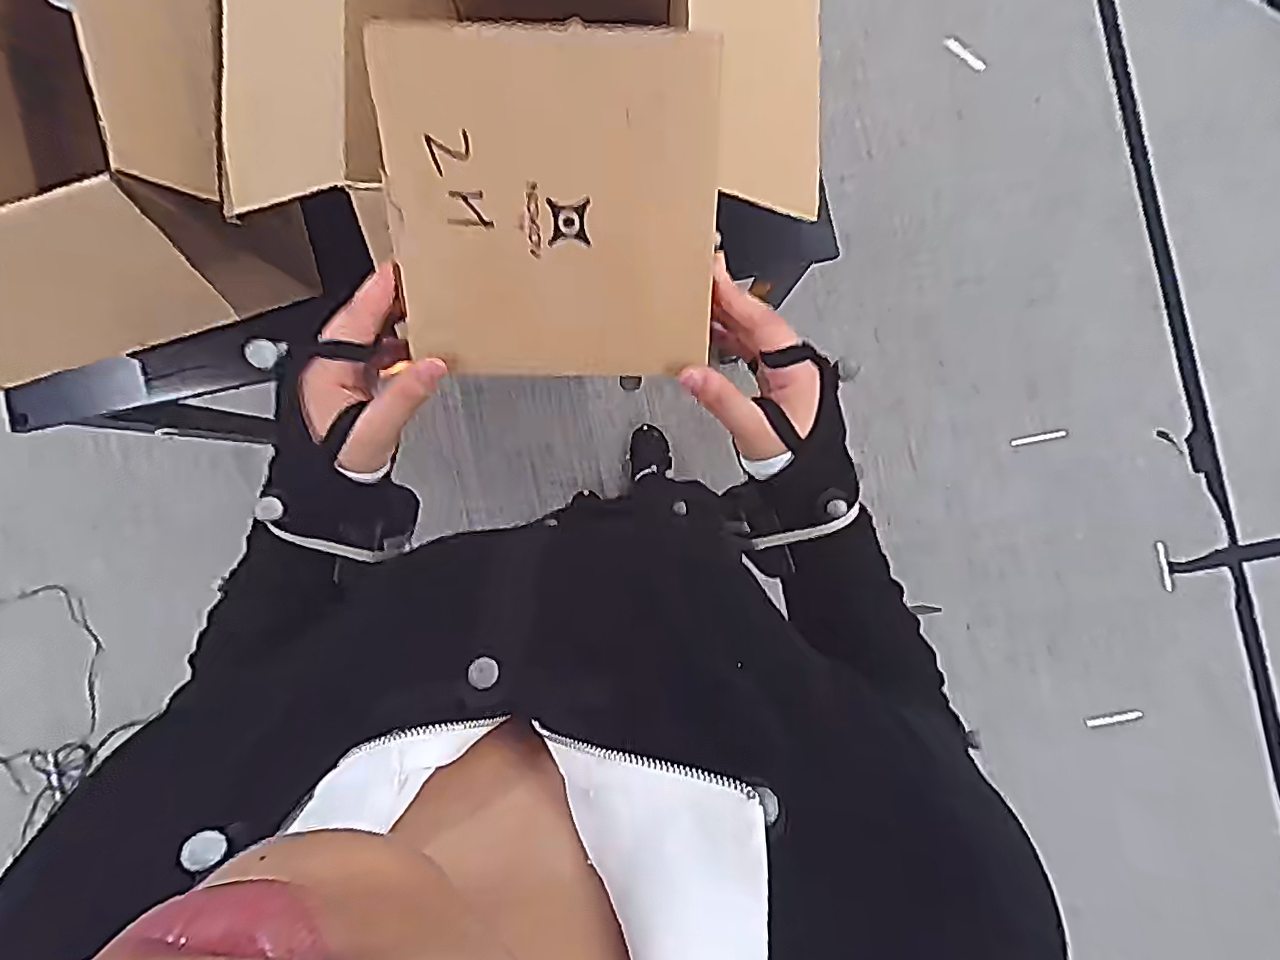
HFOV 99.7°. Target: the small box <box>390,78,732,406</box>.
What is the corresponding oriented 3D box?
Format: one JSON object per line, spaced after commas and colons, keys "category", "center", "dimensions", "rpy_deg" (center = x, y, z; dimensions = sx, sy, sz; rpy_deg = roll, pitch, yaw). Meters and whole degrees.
{"category": "small box", "center": [-0.044, -0.154, 0.377], "dimensions": [0.179, 0.176, 0.168], "rpy_deg": [1, 112, -2]}
